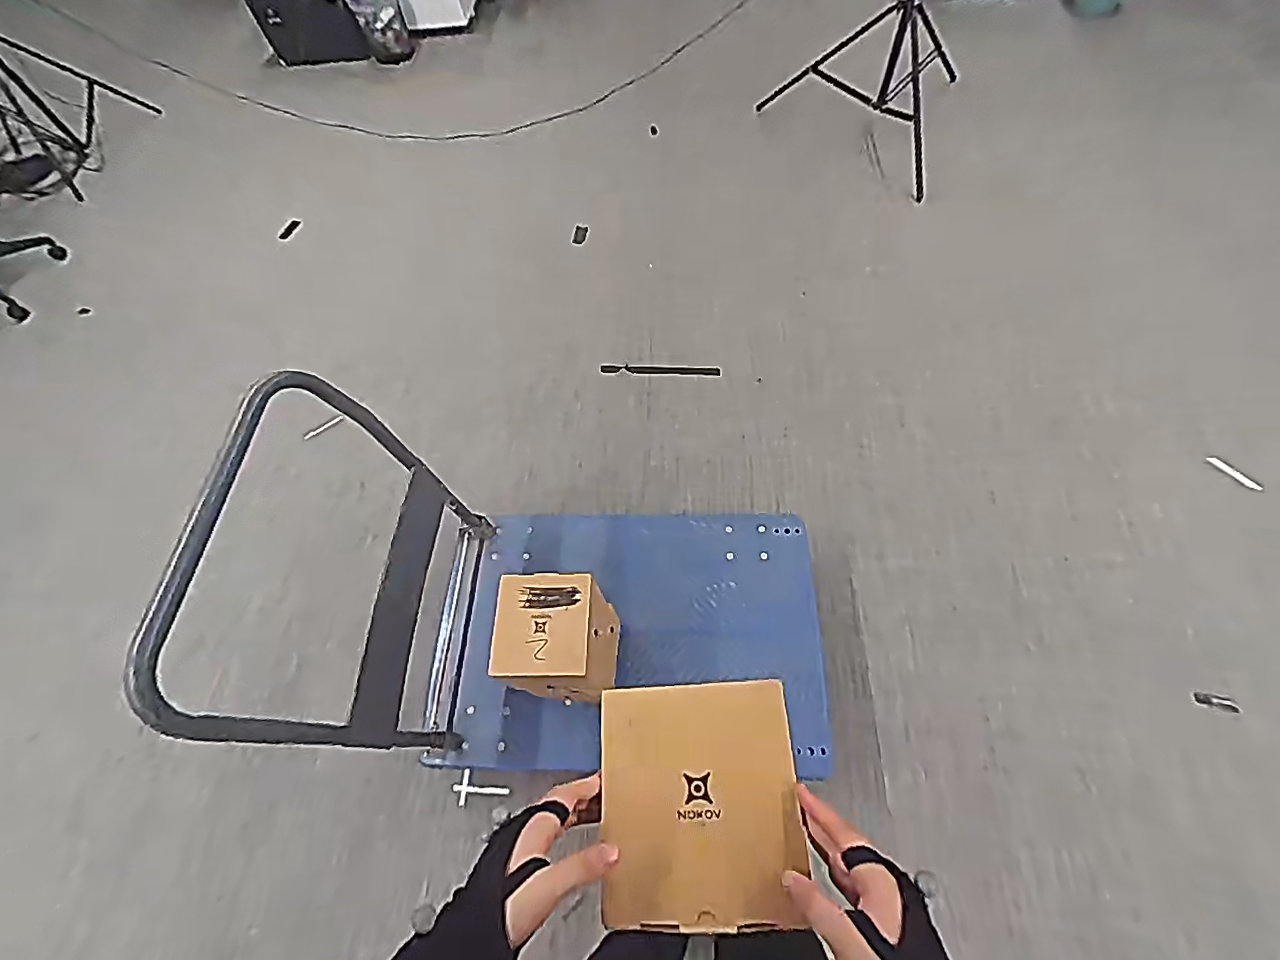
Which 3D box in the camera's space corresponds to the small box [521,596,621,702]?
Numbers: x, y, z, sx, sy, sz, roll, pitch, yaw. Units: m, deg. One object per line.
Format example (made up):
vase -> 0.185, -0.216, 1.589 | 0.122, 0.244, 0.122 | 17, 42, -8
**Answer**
small box -> -0.134, 0.357, 1.133 | 0.168, 0.176, 0.179 | 2, 62, 7
